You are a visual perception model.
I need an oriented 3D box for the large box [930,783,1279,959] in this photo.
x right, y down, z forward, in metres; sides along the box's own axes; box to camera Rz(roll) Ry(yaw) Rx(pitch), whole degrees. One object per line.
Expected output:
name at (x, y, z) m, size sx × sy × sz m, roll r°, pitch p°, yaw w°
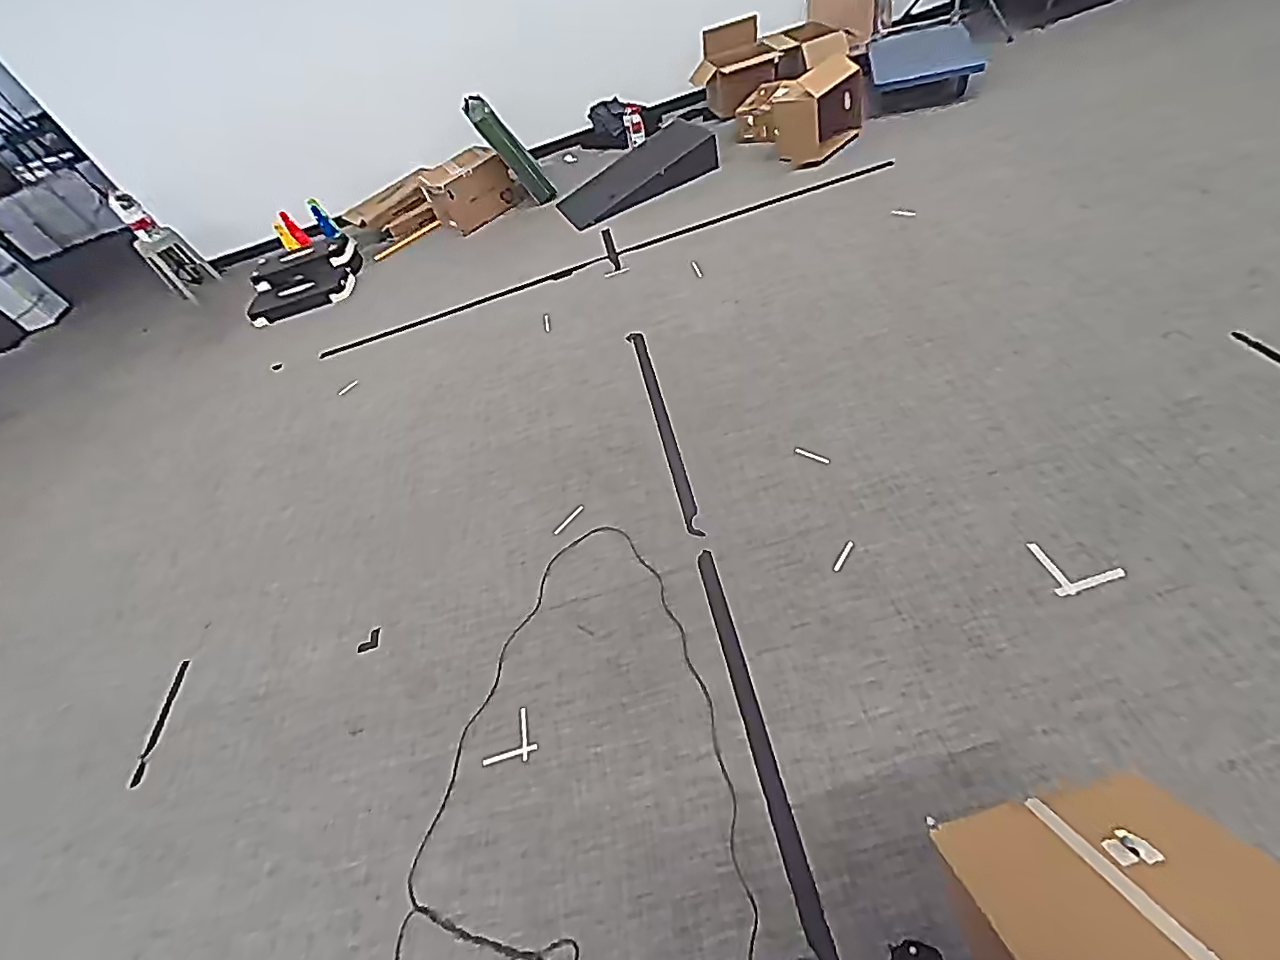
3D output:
large box at (0.619, 0.635, 0.611) m, size 0.320 × 0.408 × 0.320 m, roll -18°, pitch 87°, yaw 4°
